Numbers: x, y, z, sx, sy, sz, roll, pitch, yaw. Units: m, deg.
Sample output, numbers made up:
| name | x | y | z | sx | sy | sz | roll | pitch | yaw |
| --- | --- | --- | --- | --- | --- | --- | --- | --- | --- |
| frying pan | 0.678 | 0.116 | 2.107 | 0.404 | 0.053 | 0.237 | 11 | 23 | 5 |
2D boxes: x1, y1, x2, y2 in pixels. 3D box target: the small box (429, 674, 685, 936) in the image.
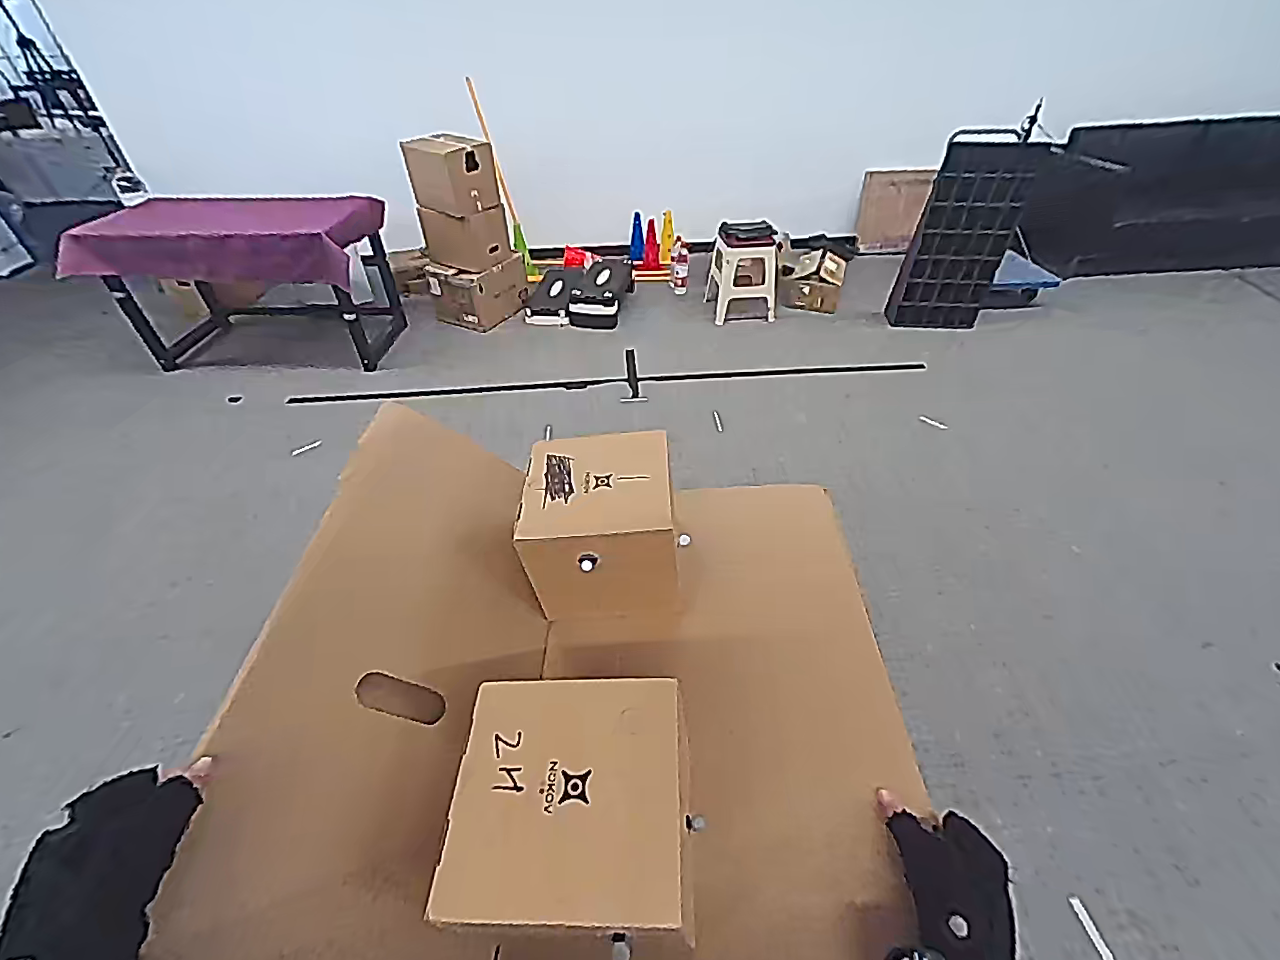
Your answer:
| name | x | y | z | sx | sy | sz | roll | pitch | yaw |
| --- | --- | --- | --- | --- | --- | --- | --- | --- | --- |
| small box | -0.050 | 0.288 | 0.480 | 0.179 | 0.176 | 0.168 | -3 | 45 | 7 |

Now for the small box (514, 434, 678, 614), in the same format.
| name | x | y | z | sx | sy | sz | roll | pitch | yaw |
| --- | --- | --- | --- | --- | --- | --- | --- | --- | --- |
| small box | -0.046 | 0.062 | 0.706 | 0.179 | 0.176 | 0.168 | -4 | 45 | 4 |
